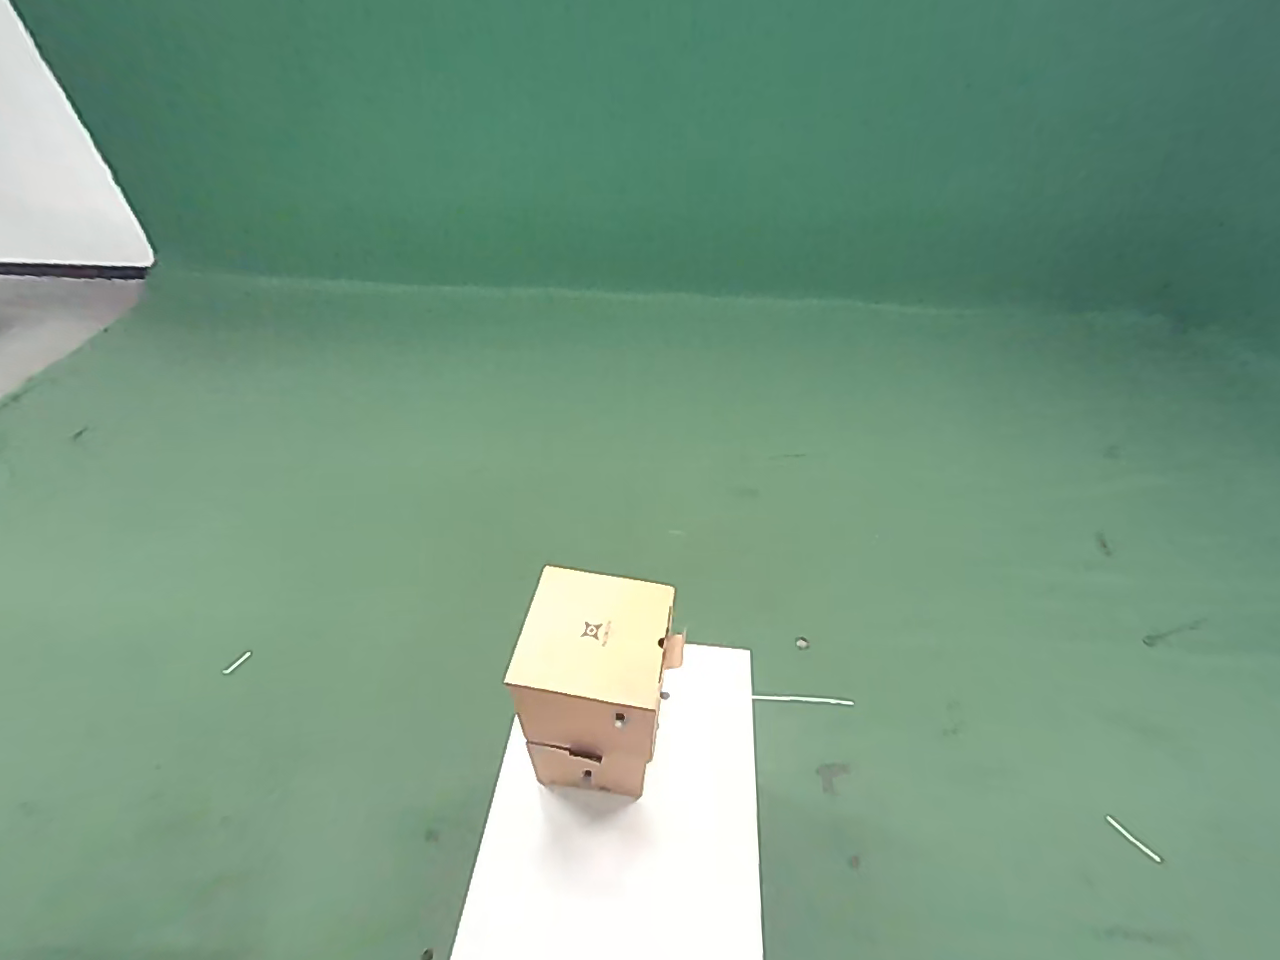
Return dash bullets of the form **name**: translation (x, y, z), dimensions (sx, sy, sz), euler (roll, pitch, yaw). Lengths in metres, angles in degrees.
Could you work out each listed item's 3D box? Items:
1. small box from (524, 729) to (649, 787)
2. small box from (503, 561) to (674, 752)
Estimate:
- **small box**: translation (-0.063, 0.342, 0.817), dimensions (0.168, 0.176, 0.179), euler (6, 46, 3)
- **small box**: translation (-0.056, 0.230, 0.699), dimensions (0.179, 0.176, 0.168), euler (8, 45, 5)
